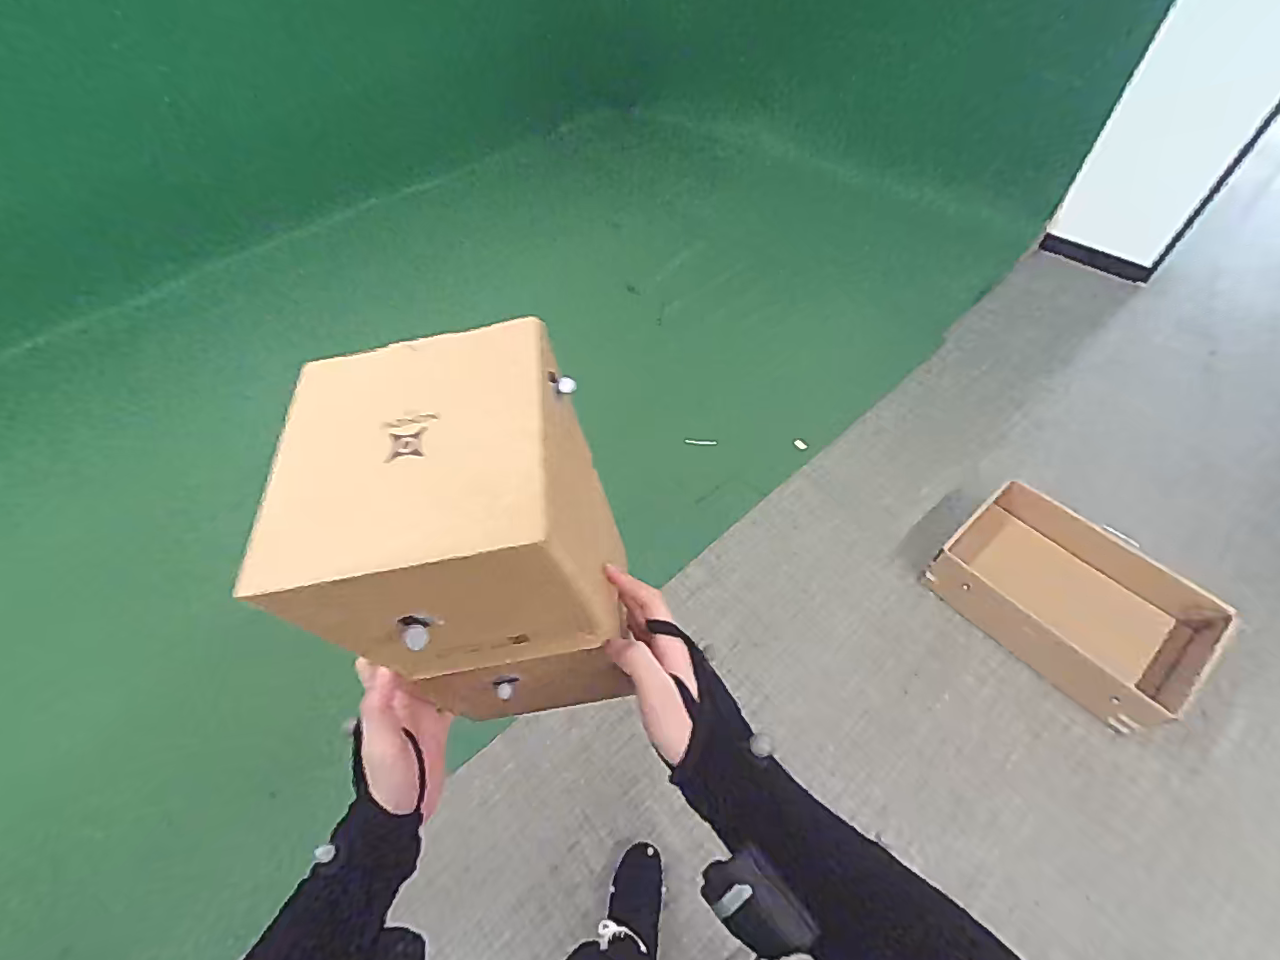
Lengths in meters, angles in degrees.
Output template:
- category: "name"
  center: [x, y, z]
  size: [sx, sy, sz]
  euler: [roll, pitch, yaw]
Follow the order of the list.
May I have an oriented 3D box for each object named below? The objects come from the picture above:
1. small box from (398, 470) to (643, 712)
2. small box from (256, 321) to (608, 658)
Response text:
- category: "small box"
  center: [-0.100, 0.115, 0.523]
  size: [0.179, 0.176, 0.168]
  euler: [-9, 55, 2]
- category: "small box"
  center: [-0.123, 0.019, 0.394]
  size: [0.168, 0.176, 0.179]
  euler: [-10, 55, 3]
